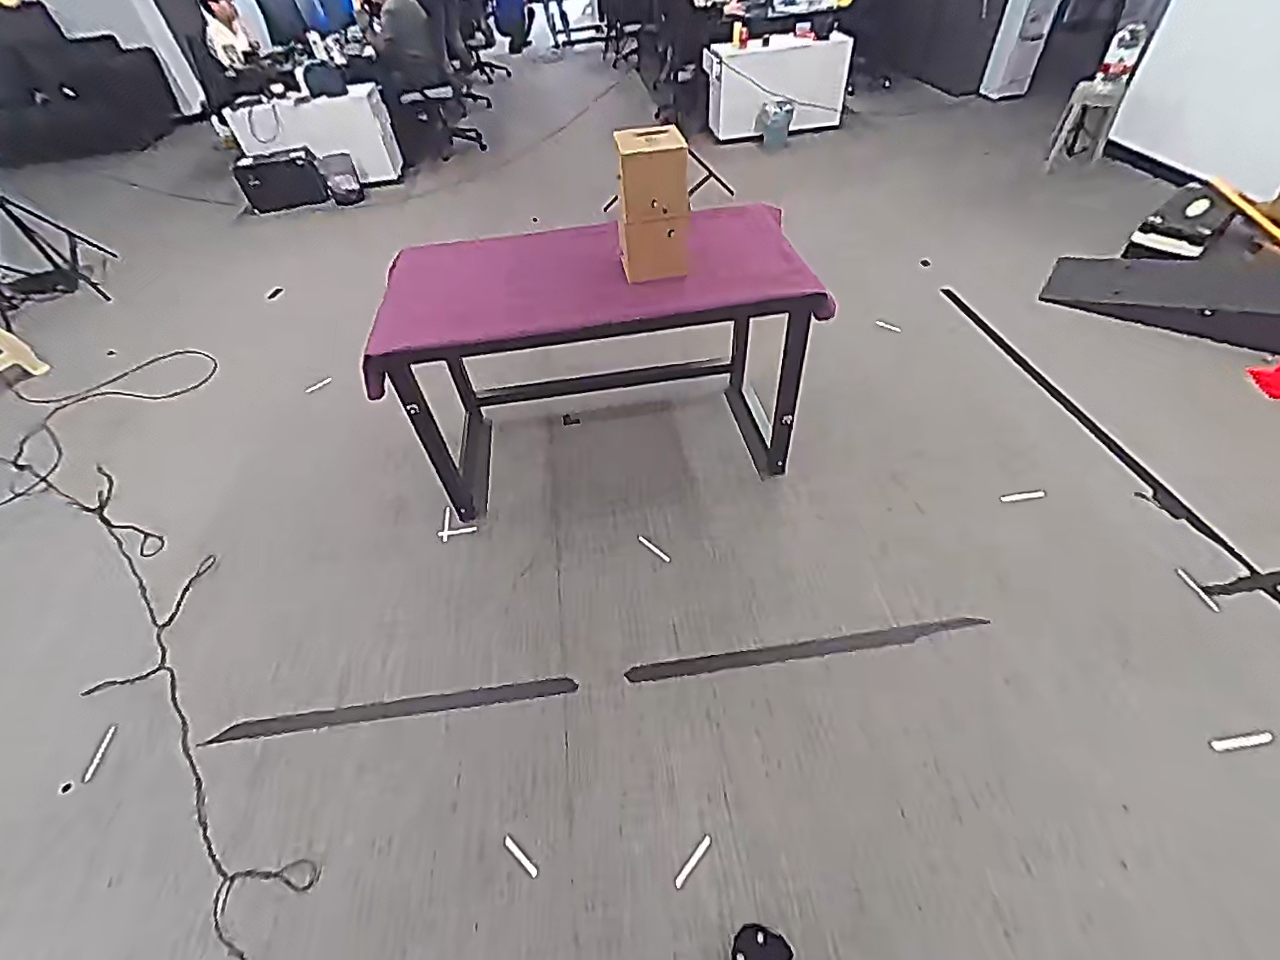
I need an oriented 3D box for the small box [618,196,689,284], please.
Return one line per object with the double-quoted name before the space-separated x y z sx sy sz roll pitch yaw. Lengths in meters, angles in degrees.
"small box" 0.038 -0.677 1.531 0.179 0.176 0.168 -10 47 -3
